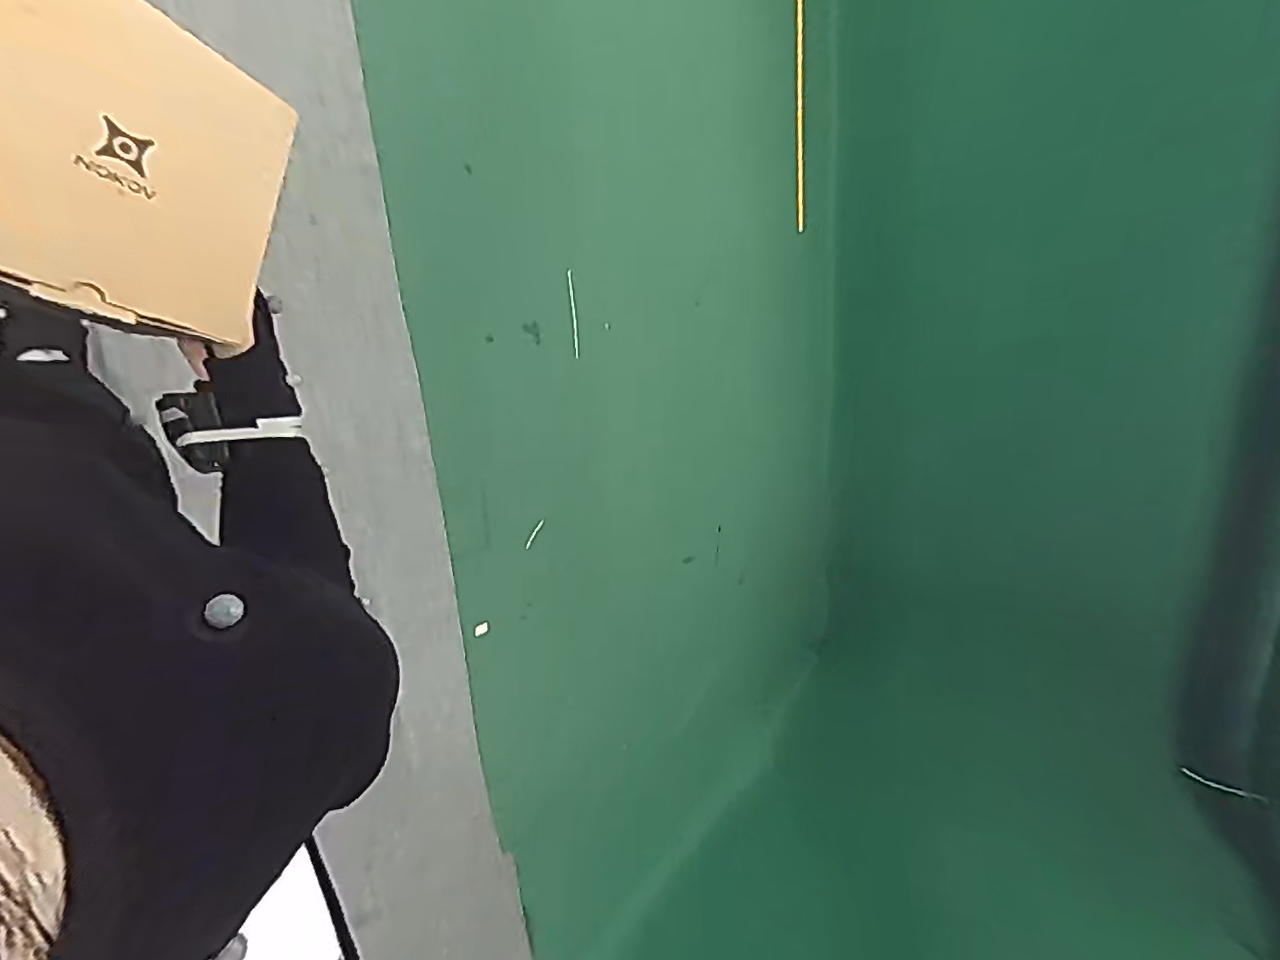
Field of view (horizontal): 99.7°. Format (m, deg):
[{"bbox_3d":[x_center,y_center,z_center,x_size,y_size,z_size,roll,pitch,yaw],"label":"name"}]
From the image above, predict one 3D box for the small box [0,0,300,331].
[{"bbox_3d":[-0.357,-0.210,0.332,0.168,0.176,0.179,15,88,-64],"label":"small box"}]
